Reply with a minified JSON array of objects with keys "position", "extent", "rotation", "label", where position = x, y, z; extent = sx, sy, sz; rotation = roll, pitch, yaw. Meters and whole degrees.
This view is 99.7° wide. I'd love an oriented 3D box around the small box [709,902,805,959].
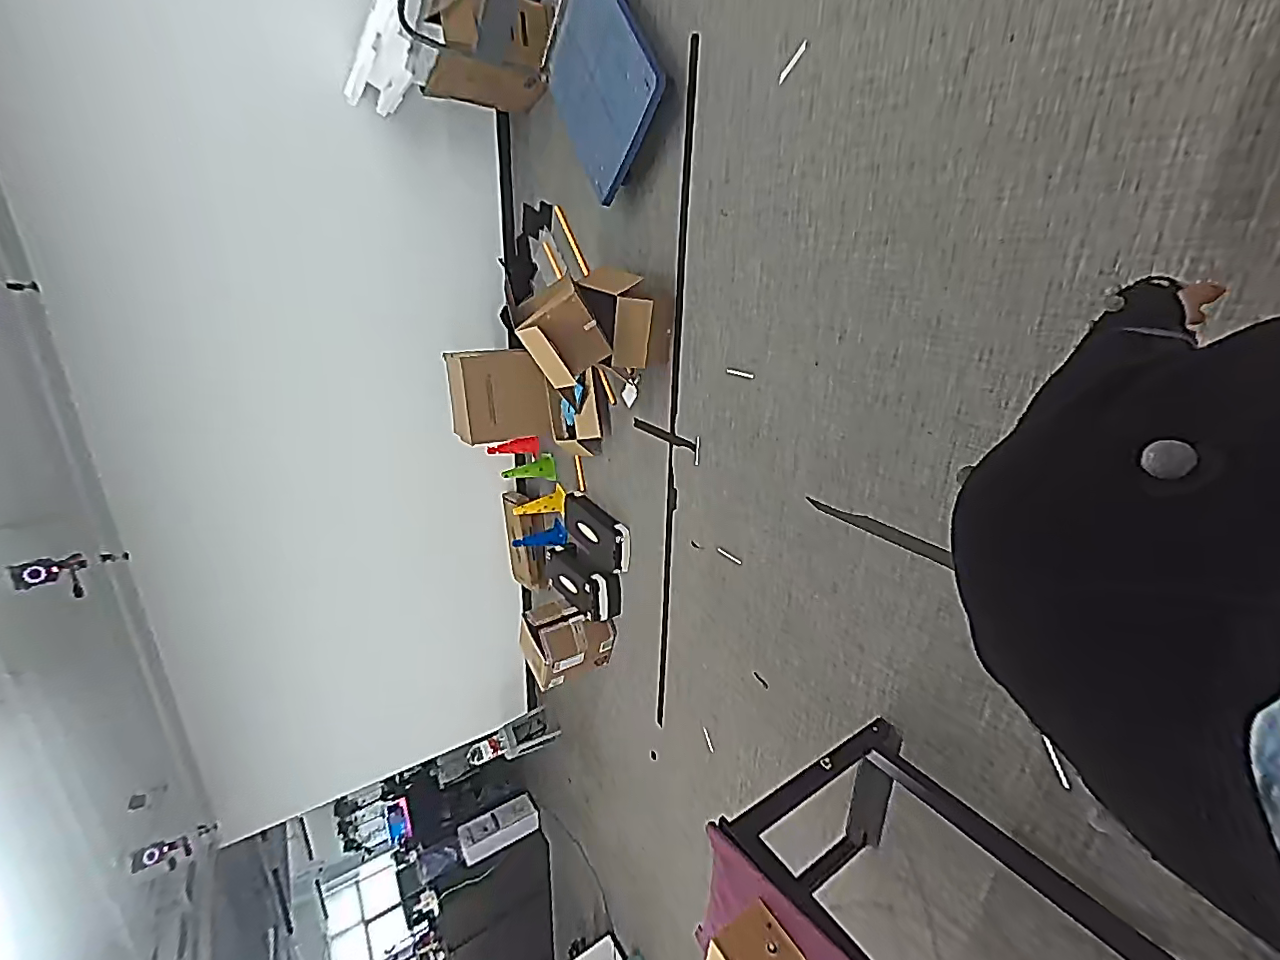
[{"position":[0.286,1.197,1.321],"extent":[0.168,0.176,0.179],"rotation":[34,128,48],"label":"small box"}]
